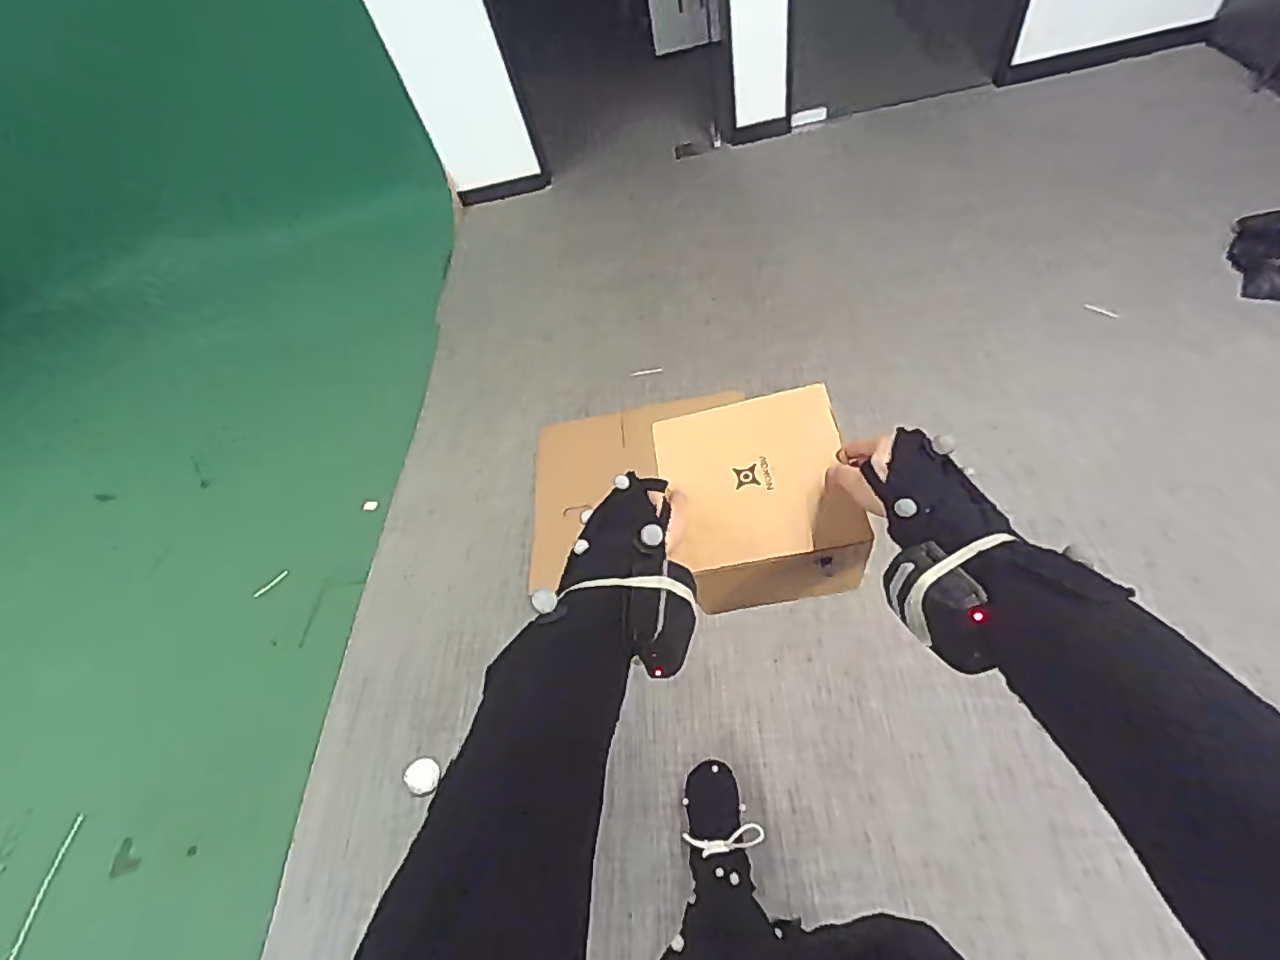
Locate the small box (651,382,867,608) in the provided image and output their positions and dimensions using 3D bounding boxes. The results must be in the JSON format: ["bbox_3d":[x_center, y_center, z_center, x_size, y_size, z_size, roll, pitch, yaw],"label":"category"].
[{"bbox_3d":[0.122,0.027,0.570,0.179,0.176,0.168,-12,62,11],"label":"small box"}]
